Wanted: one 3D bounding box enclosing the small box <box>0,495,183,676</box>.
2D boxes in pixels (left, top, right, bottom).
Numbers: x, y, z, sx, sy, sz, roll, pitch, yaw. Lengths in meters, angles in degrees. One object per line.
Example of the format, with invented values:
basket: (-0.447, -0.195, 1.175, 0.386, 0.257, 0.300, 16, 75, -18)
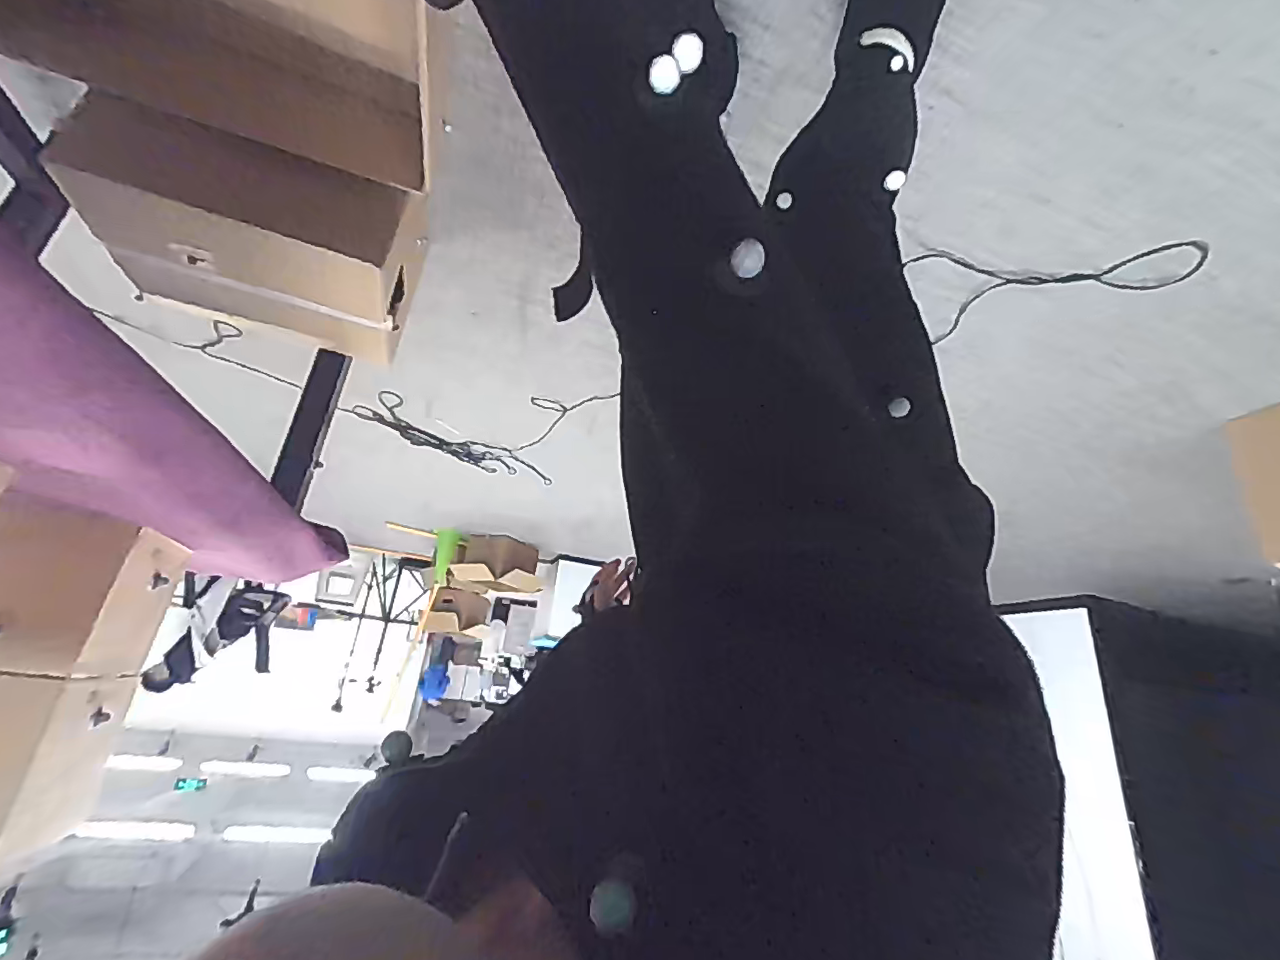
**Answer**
small box: (-0.667, 0.120, 0.601, 0.179, 0.176, 0.168, 13, 157, -19)
